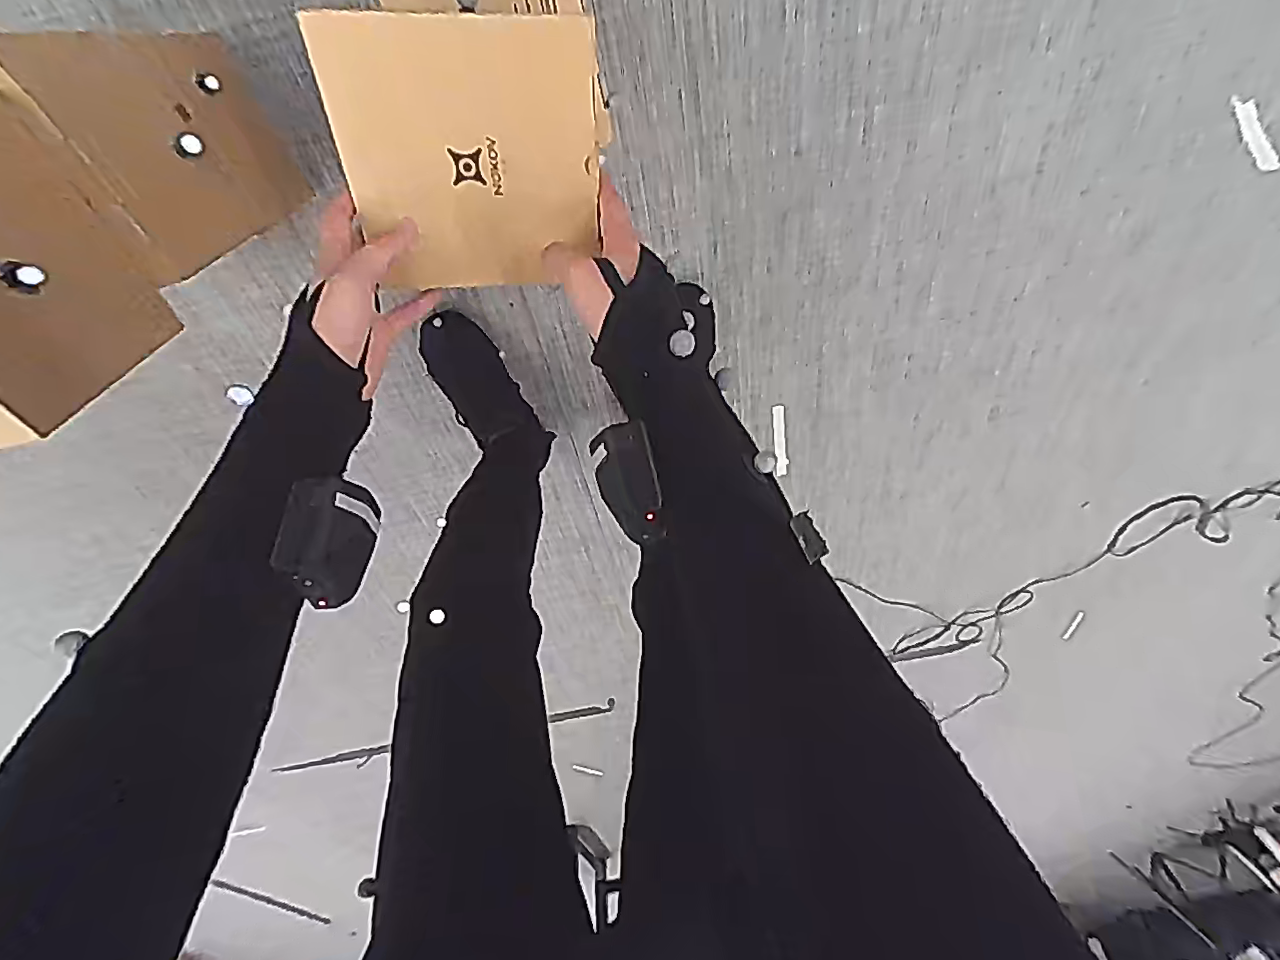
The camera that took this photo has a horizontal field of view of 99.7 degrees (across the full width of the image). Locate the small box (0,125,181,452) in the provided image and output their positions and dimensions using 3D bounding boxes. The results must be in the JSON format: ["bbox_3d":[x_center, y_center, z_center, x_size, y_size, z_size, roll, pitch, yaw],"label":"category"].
[{"bbox_3d":[-0.479,-0.126,0.359,0.168,0.176,0.179,-11,132,4],"label":"small box"}]

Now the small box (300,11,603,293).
[{"bbox_3d":[-0.123,-0.261,0.432,0.179,0.176,0.168,-5,130,-6],"label":"small box"}]

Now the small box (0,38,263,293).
[{"bbox_3d":[-0.483,-0.253,0.466,0.179,0.176,0.168,-15,131,6],"label":"small box"}]

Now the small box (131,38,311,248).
[{"bbox_3d":[-0.511,-0.354,0.593,0.168,0.176,0.179,-14,131,5],"label":"small box"}]
